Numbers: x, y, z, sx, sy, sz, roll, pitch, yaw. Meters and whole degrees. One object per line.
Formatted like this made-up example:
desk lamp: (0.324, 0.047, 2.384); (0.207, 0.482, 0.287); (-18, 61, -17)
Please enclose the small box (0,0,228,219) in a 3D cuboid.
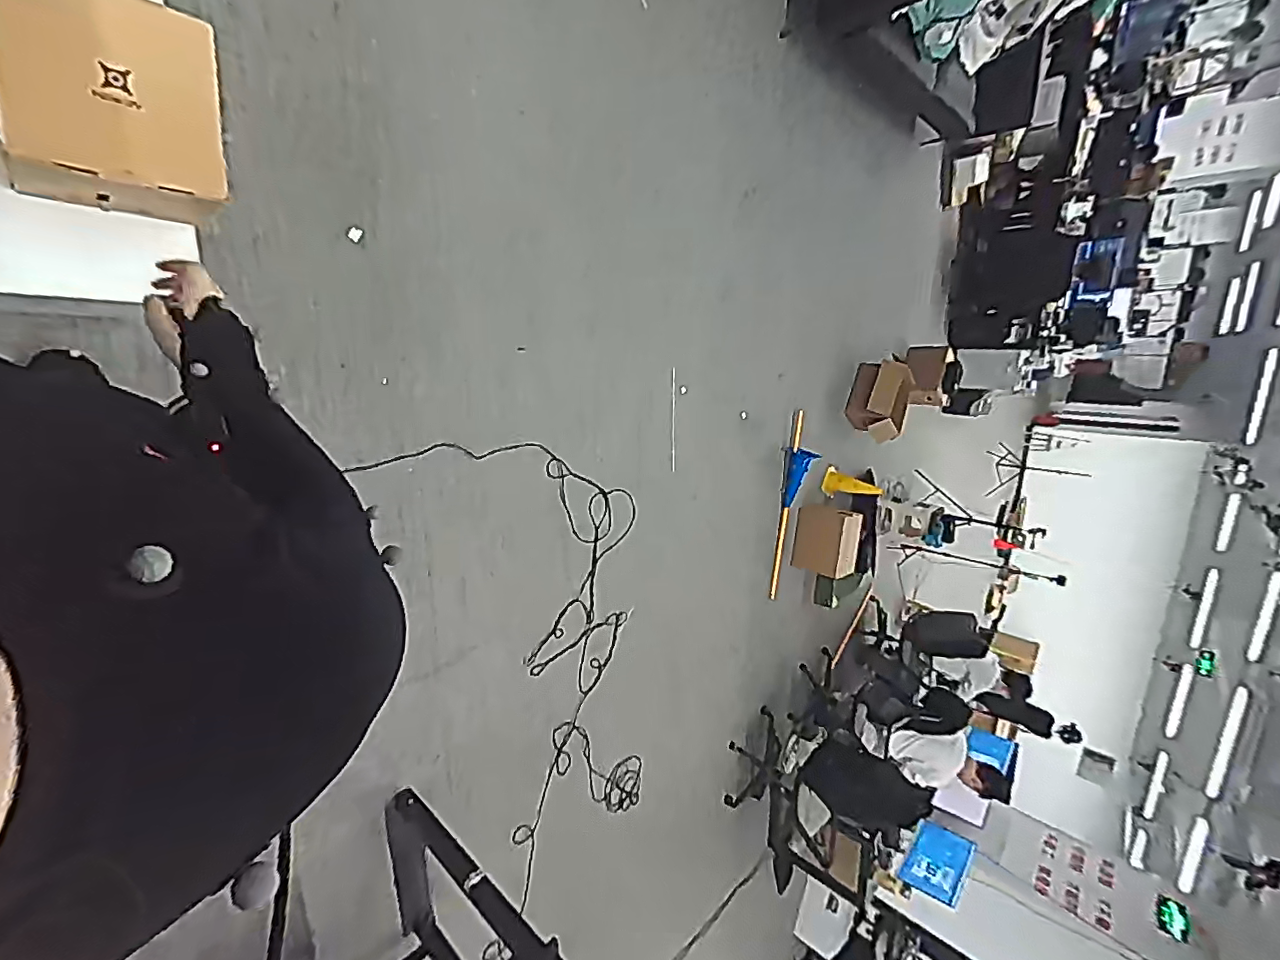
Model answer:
small box: (-0.566, -0.401, 0.578); (0.168, 0.176, 0.179); (-9, 107, -46)
